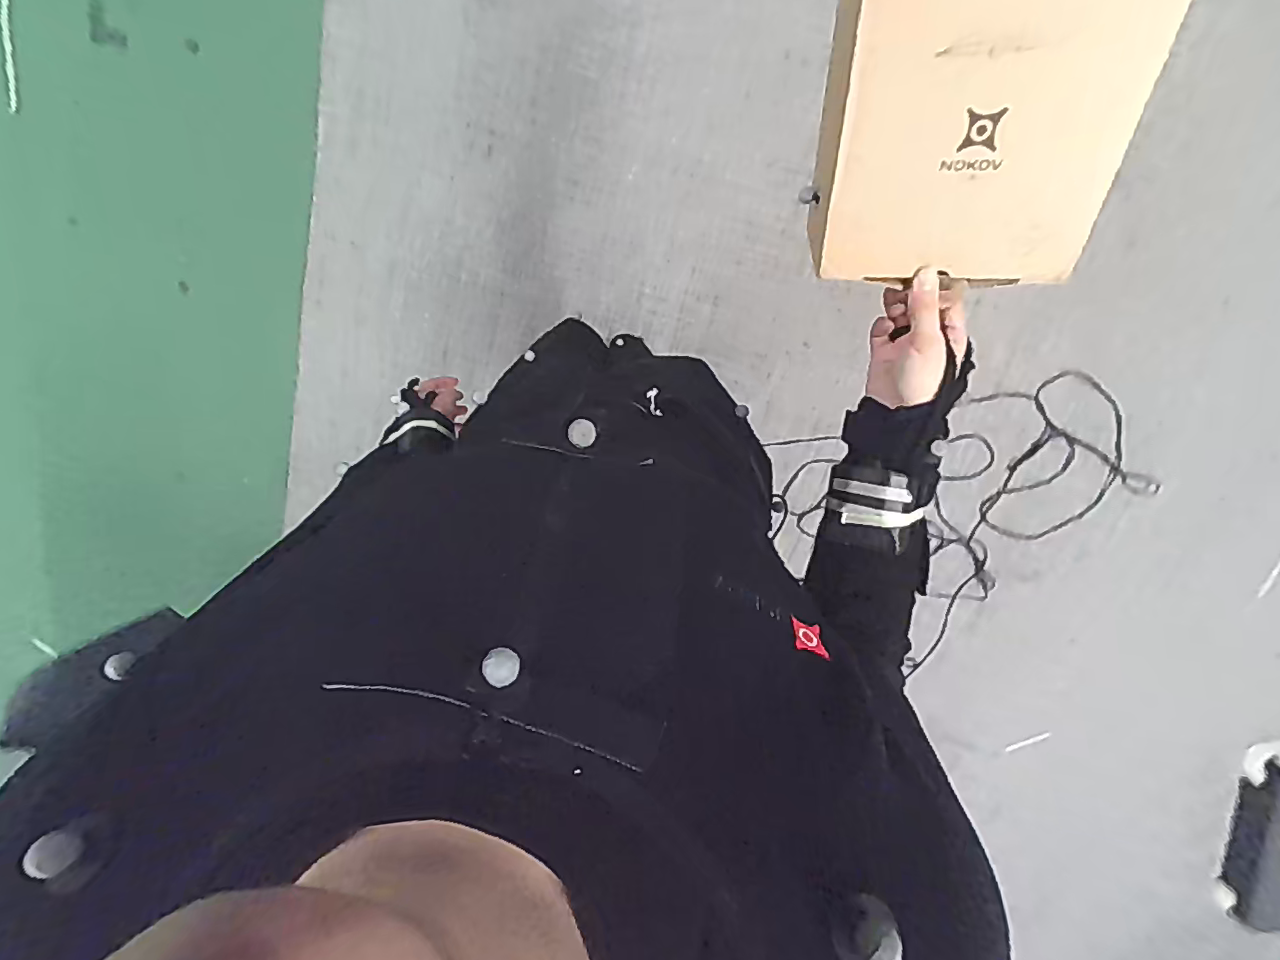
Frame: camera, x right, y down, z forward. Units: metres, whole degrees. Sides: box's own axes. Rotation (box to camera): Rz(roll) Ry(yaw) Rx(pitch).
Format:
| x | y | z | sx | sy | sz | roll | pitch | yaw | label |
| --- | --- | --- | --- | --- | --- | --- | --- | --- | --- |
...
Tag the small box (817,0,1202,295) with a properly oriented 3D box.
| x | y | z | sx | sy | sz | roll | pitch | yaw | label |
| --- | --- | --- | --- | --- | --- | --- | --- | --- | --- |
| 0.228 | -0.251 | 0.395 | 0.168 | 0.176 | 0.179 | 5 | 126 | 10 | small box |
